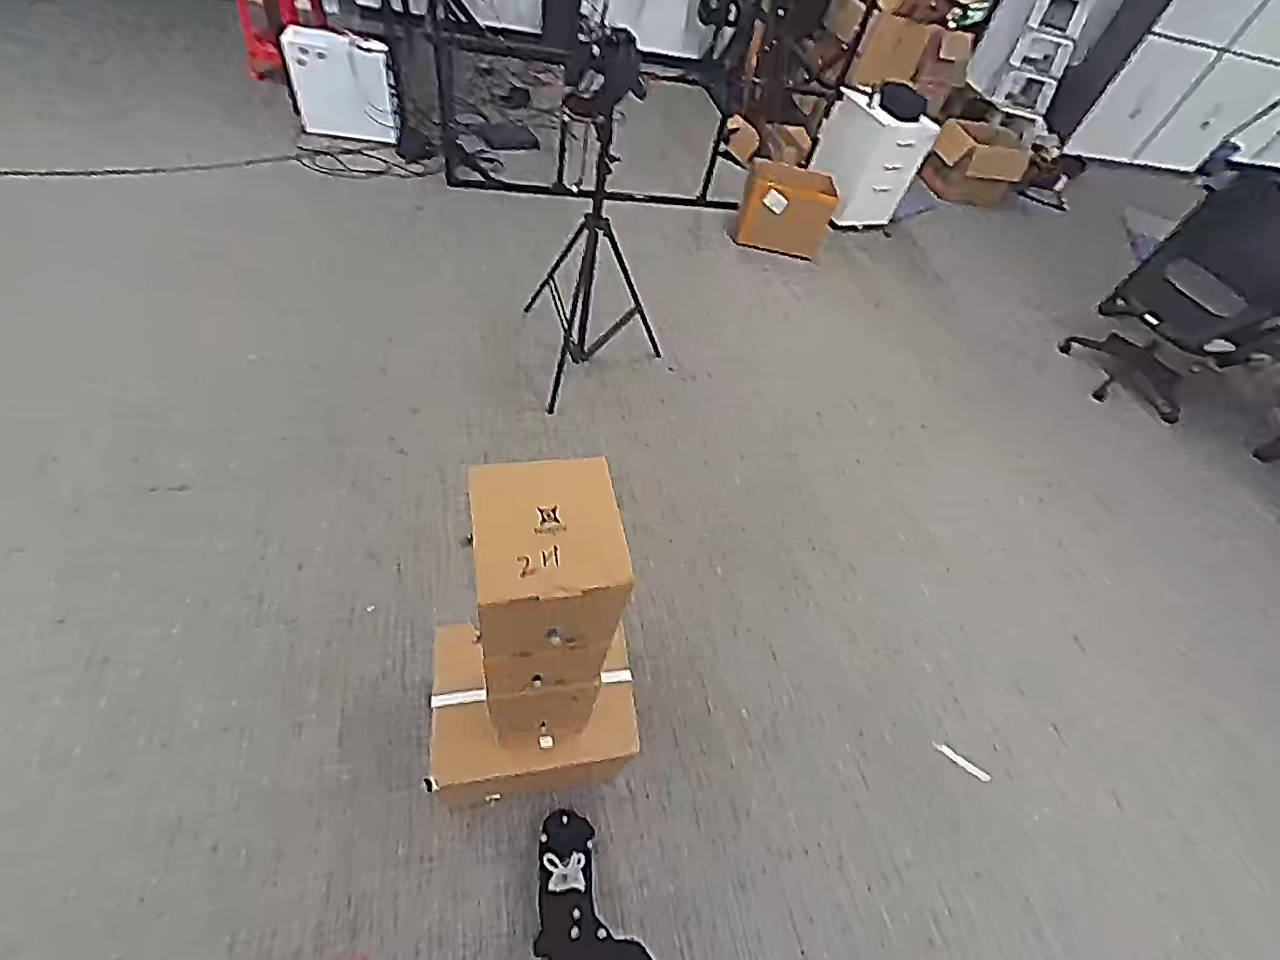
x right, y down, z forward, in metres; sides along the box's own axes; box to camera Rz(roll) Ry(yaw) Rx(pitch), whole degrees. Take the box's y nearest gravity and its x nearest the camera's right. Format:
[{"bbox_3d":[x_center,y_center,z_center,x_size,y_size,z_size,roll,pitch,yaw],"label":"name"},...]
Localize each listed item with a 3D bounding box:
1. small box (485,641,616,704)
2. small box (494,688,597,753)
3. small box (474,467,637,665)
[{"bbox_3d":[-0.142,0.207,0.794,0.168,0.176,0.179,-4,55,-16],"label":"small box"},{"bbox_3d":[-0.190,0.412,1.045,0.179,0.176,0.168,-4,55,-17],"label":"small box"},{"bbox_3d":[-0.113,0.106,0.667,0.168,0.176,0.179,-5,55,-16],"label":"small box"}]
